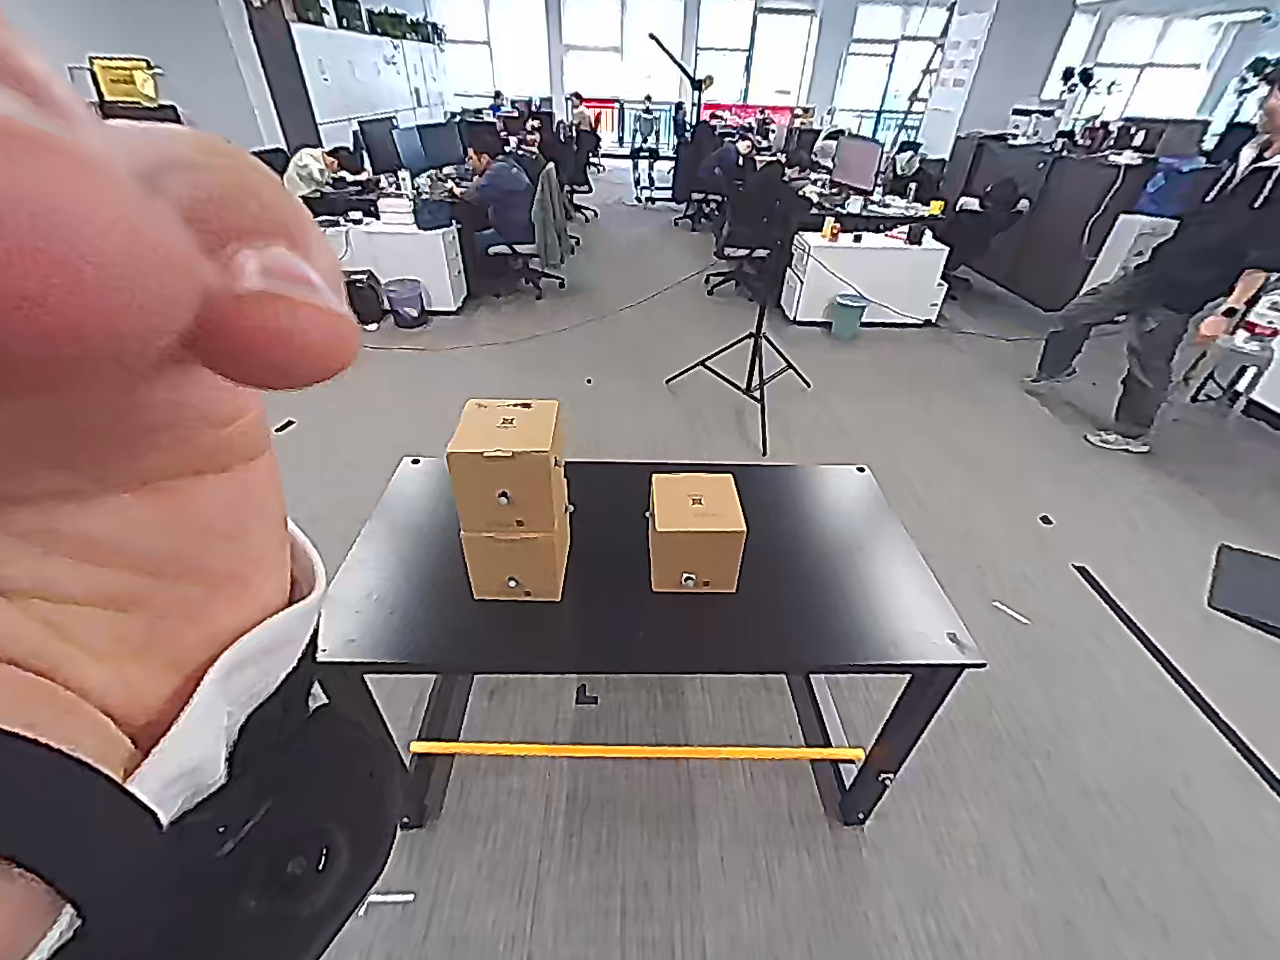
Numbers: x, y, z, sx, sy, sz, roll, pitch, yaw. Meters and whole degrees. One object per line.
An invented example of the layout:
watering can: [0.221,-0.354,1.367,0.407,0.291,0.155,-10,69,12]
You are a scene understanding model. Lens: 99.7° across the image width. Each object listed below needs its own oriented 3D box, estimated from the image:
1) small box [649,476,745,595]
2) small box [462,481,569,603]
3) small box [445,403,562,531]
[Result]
small box: [0.104,0.108,1.081,0.168,0.176,0.179,-1,37,-2]
small box: [-0.231,0.115,1.050,0.168,0.176,0.179,1,37,0]
small box: [-0.229,-0.022,0.960,0.168,0.176,0.179,0,37,-3]
